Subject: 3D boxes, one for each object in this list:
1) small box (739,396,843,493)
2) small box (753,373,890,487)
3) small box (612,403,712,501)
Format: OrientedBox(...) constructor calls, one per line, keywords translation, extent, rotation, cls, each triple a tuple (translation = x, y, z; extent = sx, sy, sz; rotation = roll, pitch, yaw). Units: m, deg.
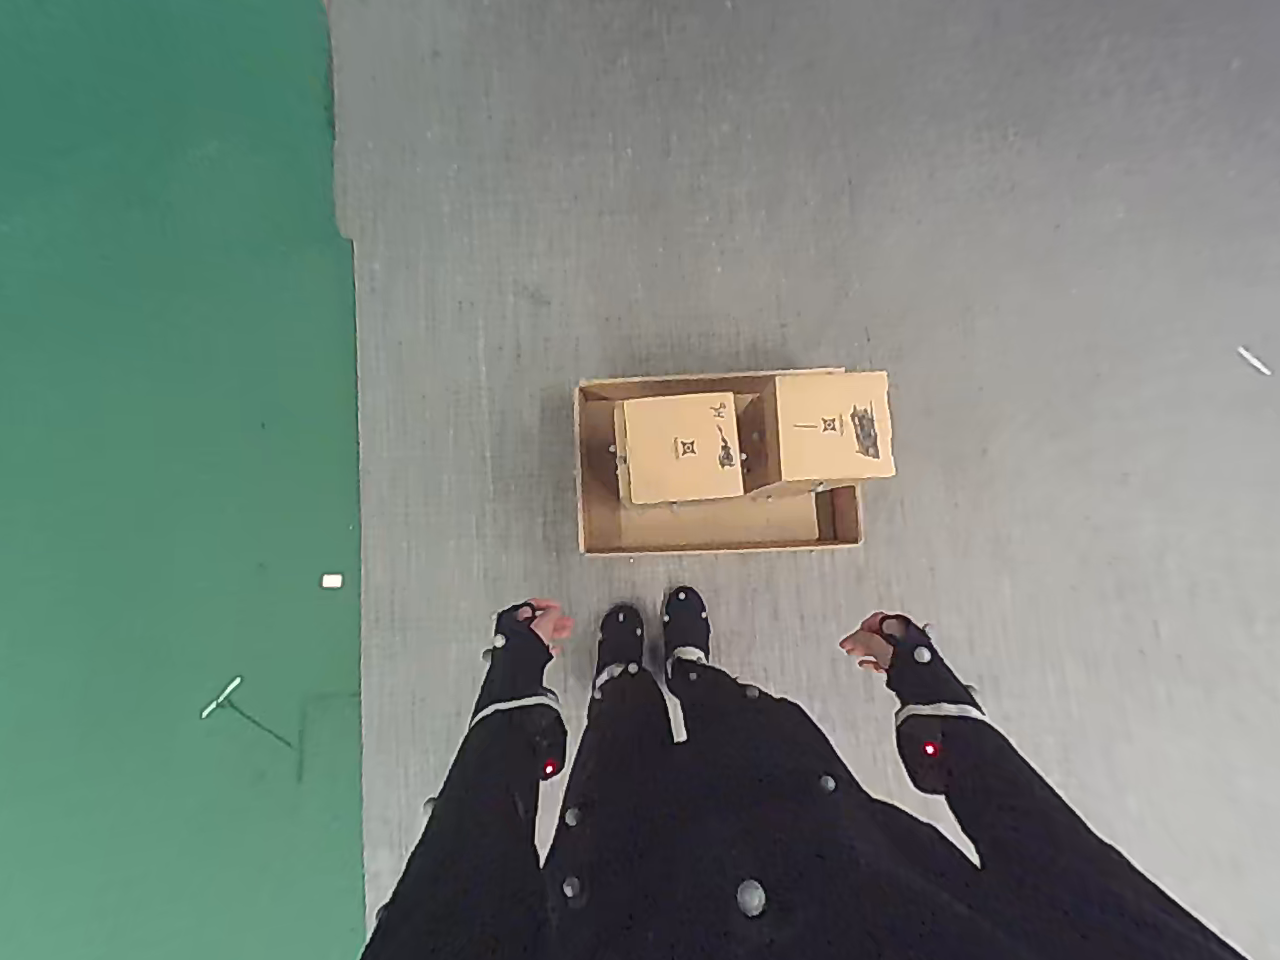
OrientedBox(translation=(0.293, -0.066, 1.076), extent=(0.168, 0.176, 0.179), rotation=(-2, 84, 1), cls="small box")
OrientedBox(translation=(0.296, -0.078, 0.913), extent=(0.179, 0.176, 0.168), rotation=(-2, 84, 2), cls="small box")
OrientedBox(translation=(0.041, -0.049, 1.079), extent=(0.179, 0.176, 0.168), rotation=(-5, 84, -1), cls="small box")
